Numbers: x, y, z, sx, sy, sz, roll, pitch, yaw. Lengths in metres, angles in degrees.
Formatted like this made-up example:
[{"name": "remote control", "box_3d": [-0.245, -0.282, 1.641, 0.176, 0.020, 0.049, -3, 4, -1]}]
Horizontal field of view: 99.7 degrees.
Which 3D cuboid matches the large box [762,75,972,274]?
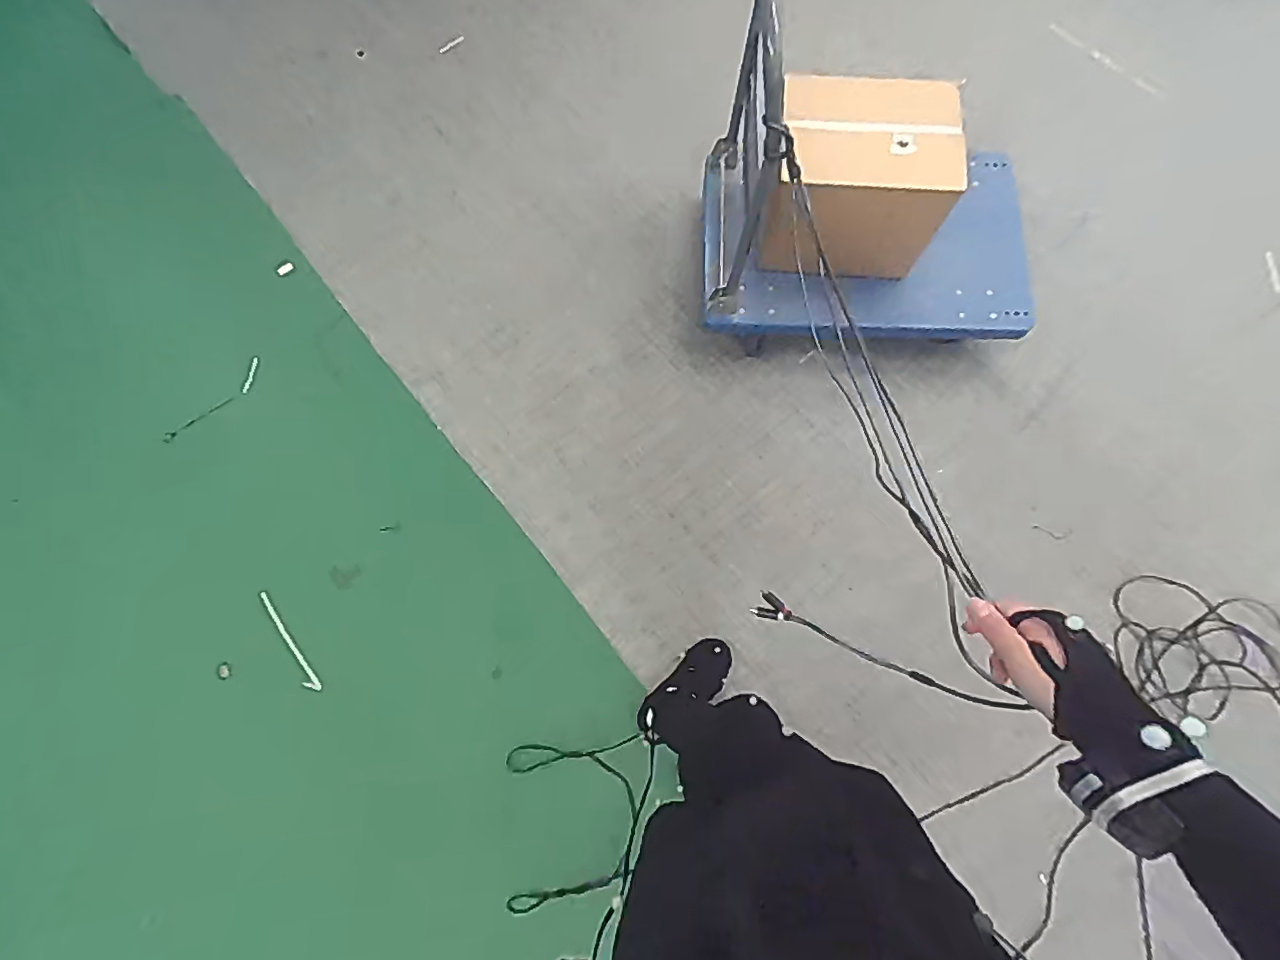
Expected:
[{"name": "large box", "box_3d": [0.533, -0.746, 1.355, 0.408, 0.320, 0.320, 5, 75, 2]}]
